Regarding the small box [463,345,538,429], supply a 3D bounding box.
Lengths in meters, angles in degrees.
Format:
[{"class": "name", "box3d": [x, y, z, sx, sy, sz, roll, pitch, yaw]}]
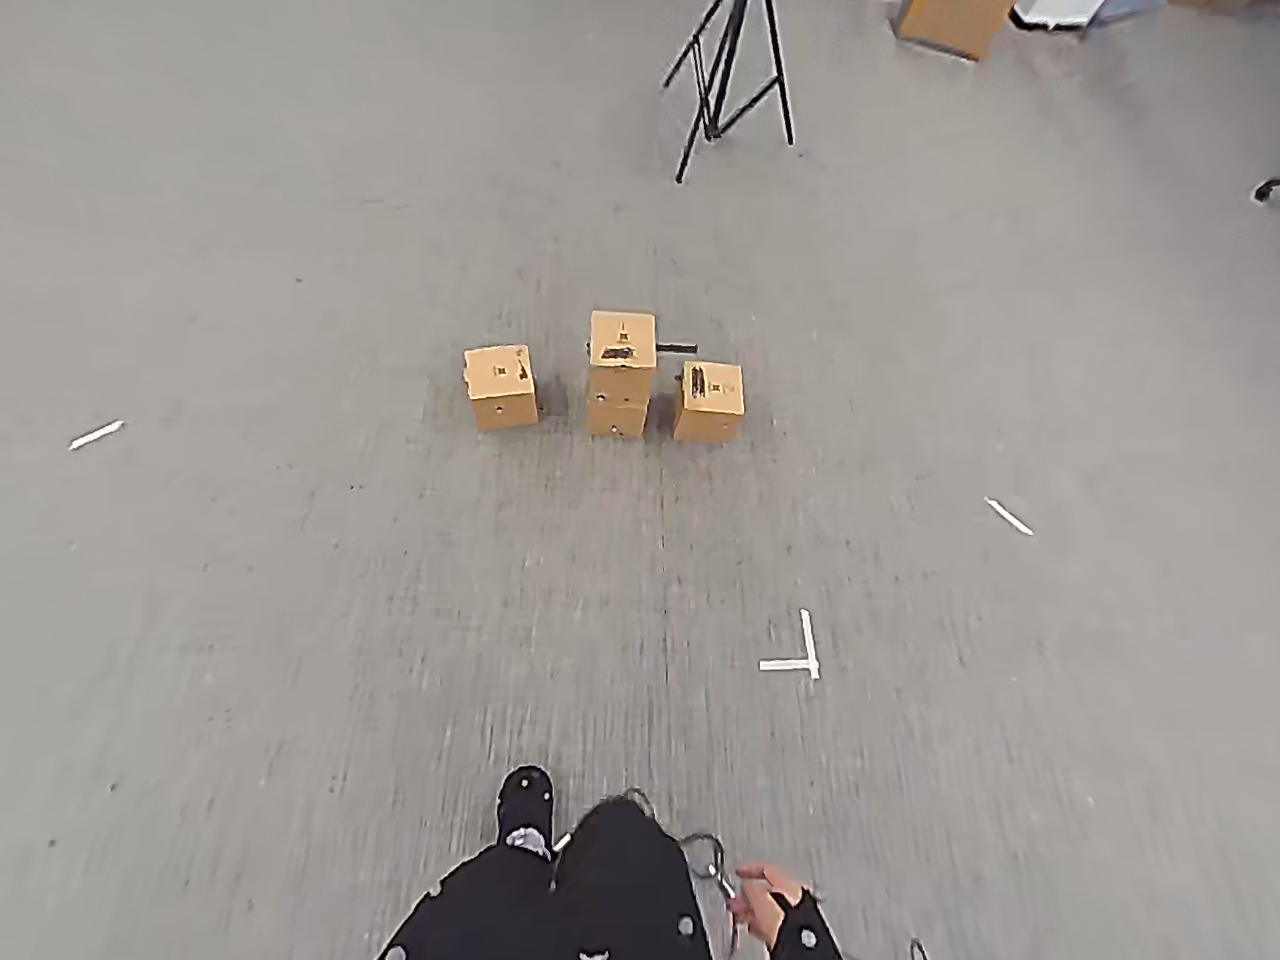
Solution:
[{"class": "small box", "box3d": [-0.397, -0.261, 1.550, 0.179, 0.176, 0.168, -9, 68, -10]}]

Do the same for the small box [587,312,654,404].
[{"class": "small box", "box3d": [-0.054, -0.317, 1.435, 0.168, 0.176, 0.179, 2, 65, -6]}]

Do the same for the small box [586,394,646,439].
[{"class": "small box", "box3d": [-0.069, -0.241, 1.580, 0.168, 0.176, 0.179, 5, 66, -4]}]
